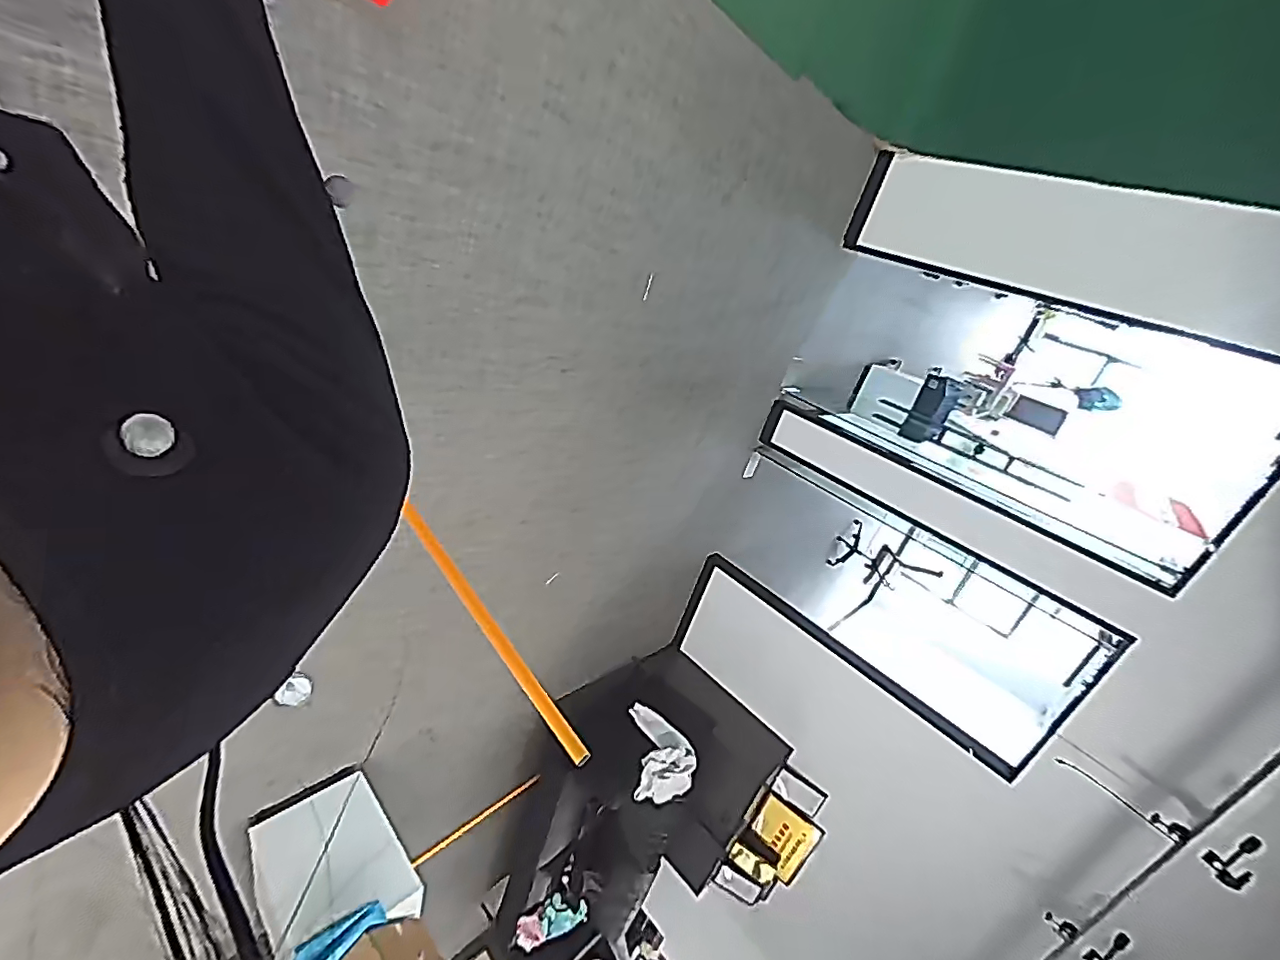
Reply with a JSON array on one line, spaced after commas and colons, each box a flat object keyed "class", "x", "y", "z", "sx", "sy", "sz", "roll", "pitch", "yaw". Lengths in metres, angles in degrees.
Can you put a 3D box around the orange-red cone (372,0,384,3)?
[{"class": "orange-red cone", "x": -0.446, "y": -1.013, "z": 0.961, "sx": 0.198, "sy": 0.360, "sz": 0.199, "roll": 7, "pitch": 114, "yaw": -53}]
